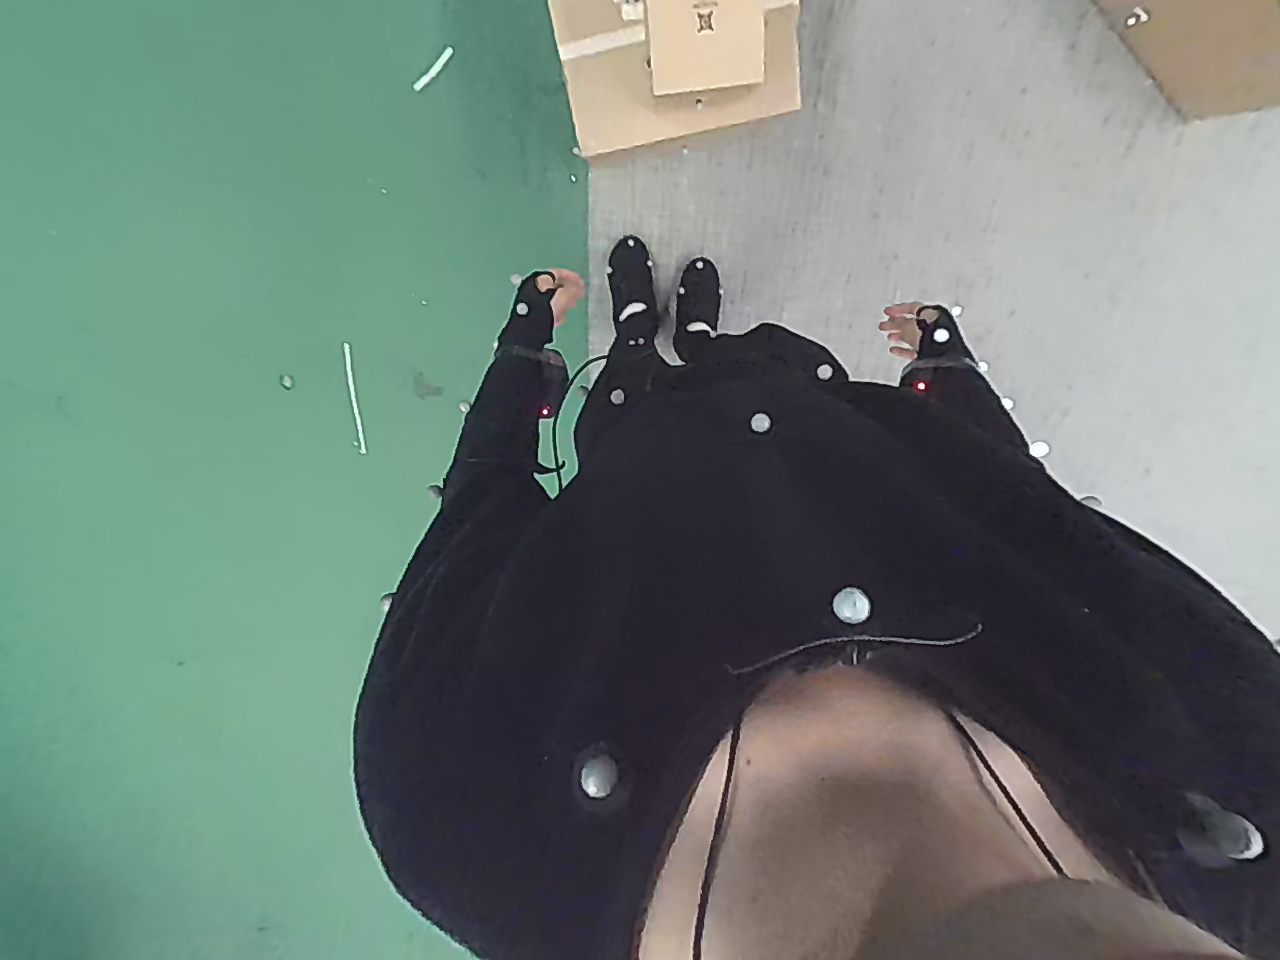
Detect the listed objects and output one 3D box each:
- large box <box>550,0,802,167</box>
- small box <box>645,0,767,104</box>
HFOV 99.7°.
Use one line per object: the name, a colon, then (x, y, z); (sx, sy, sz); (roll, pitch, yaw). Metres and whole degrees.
large box: (0.065, -0.822, 1.034); (0.408, 0.320, 0.320); (-9, 115, 6)
small box: (0.095, -0.691, 0.823); (0.168, 0.176, 0.179); (-5, 116, 1)
